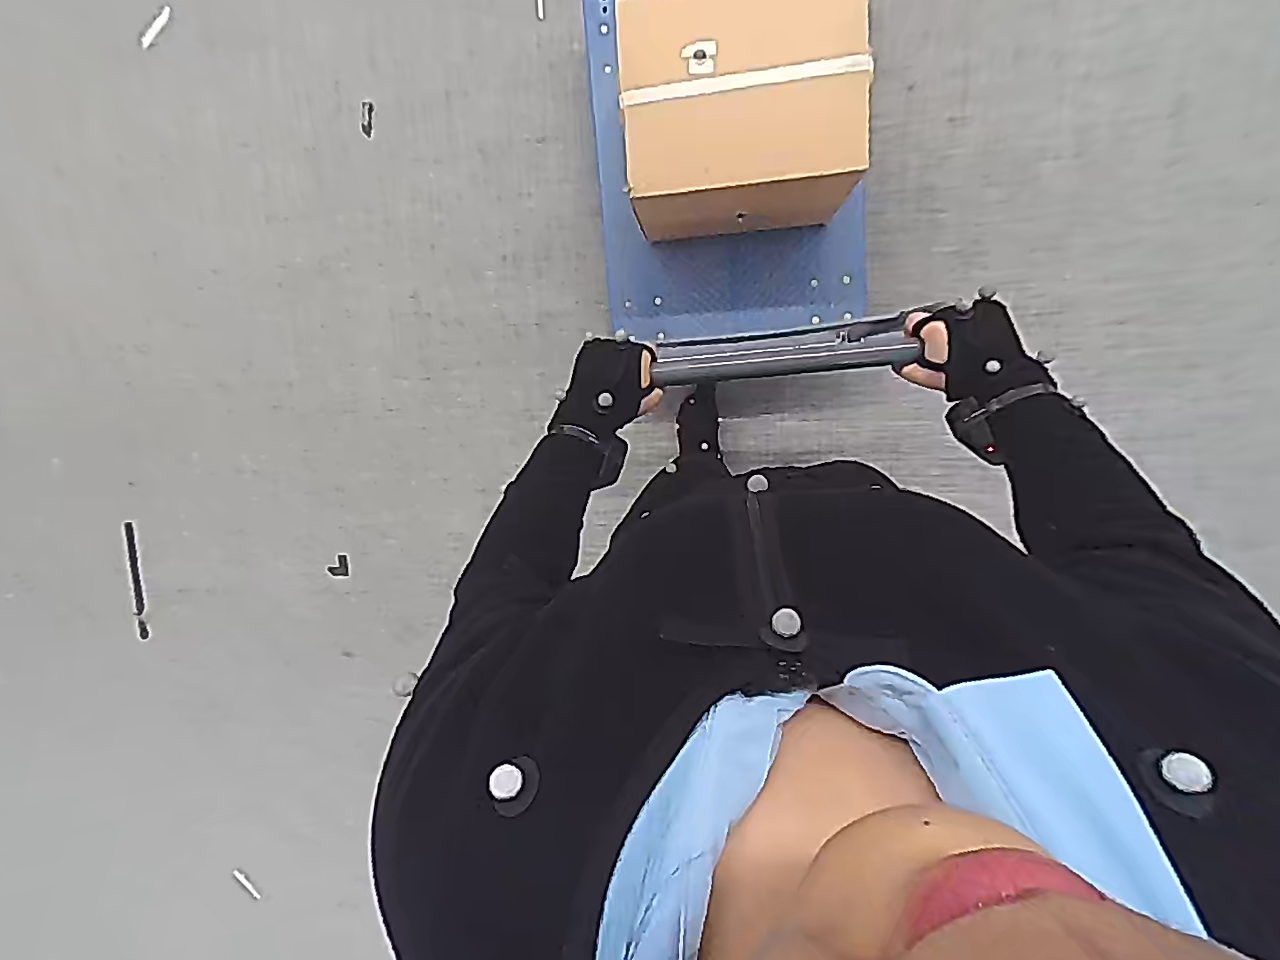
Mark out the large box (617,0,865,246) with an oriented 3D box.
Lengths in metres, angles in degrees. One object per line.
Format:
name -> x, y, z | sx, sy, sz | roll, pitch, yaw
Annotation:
large box -> 0.191, -0.679, 1.059 | 0.408, 0.320, 0.320 | -4, 98, 9
